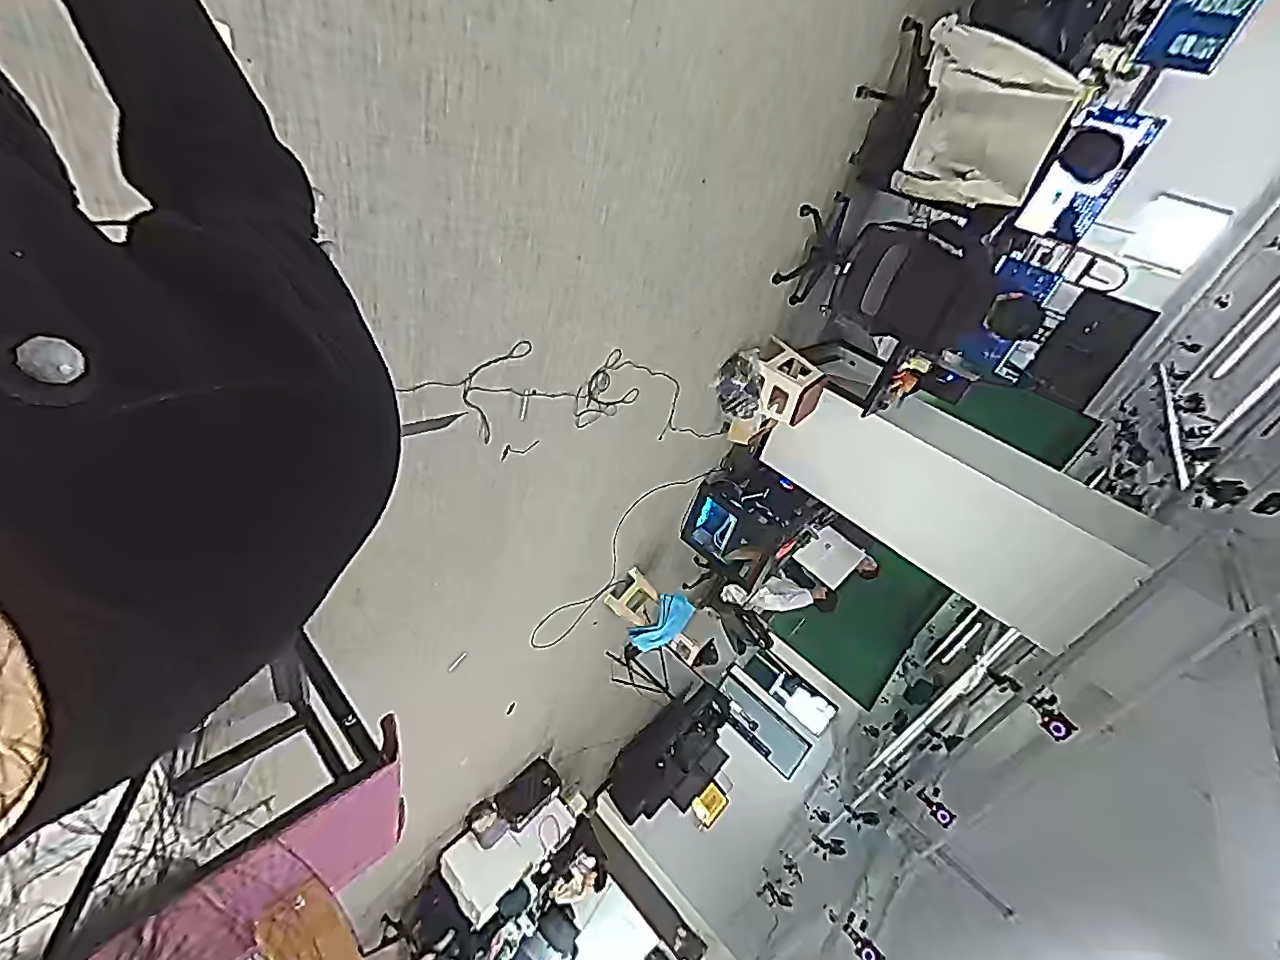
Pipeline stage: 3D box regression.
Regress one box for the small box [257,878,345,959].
[{"bbox_3d":[-0.977,1.305,1.557,0.168,0.176,0.179,-19,136,-50],"label":"small box"}]
